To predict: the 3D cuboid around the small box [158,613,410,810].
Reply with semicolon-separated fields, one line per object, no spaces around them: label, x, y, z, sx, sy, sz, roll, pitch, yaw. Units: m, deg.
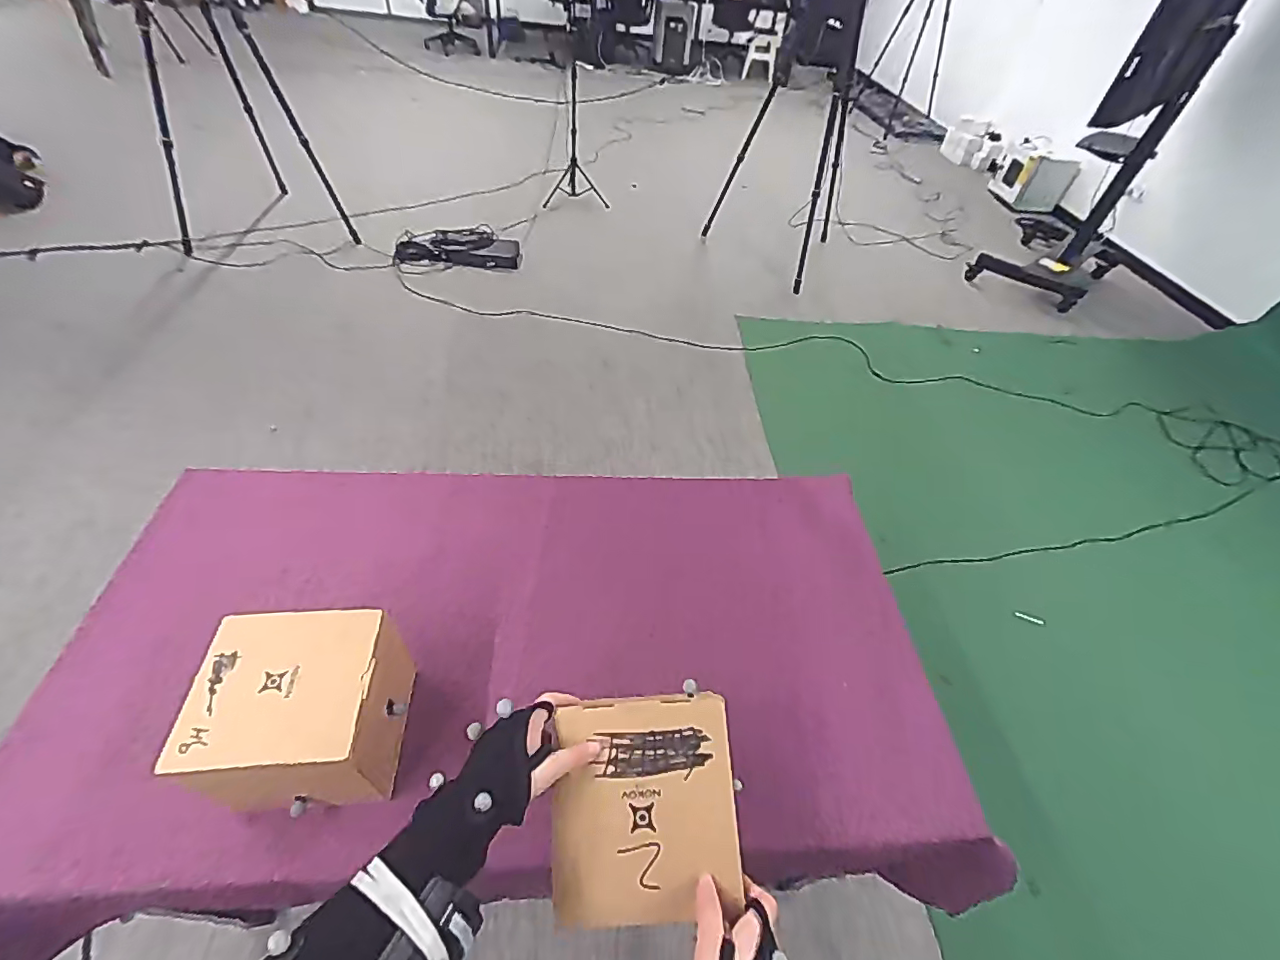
small box;-0.383;0.269;0.629;0.179;0.176;0.168;0;48;-8
